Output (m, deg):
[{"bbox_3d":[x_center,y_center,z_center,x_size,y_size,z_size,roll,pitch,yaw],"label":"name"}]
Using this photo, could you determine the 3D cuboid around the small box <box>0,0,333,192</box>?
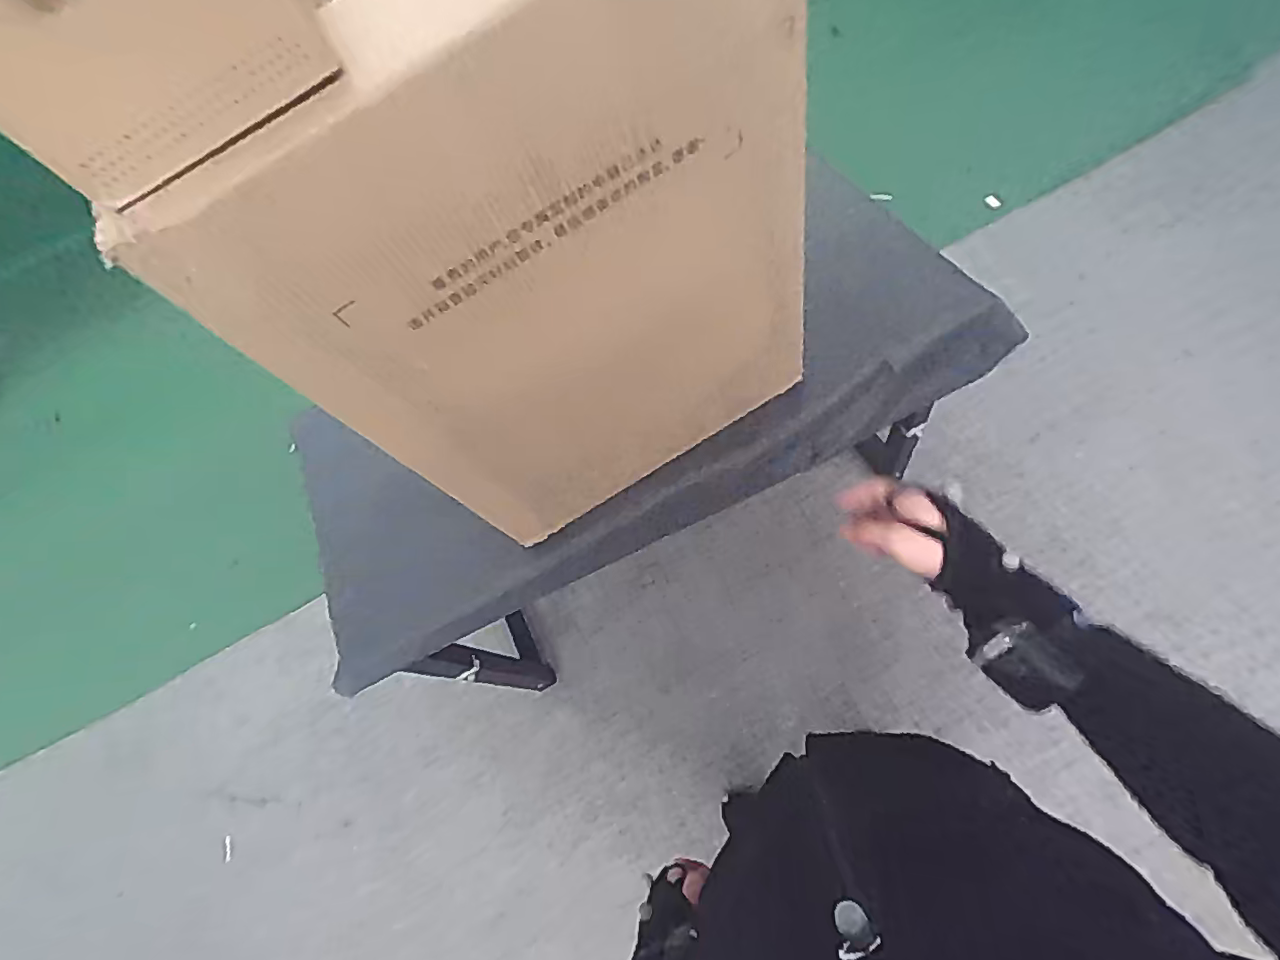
[{"bbox_3d":[-0.318,-0.308,0.304,0.179,0.176,0.168,-32,63,2],"label":"small box"}]
